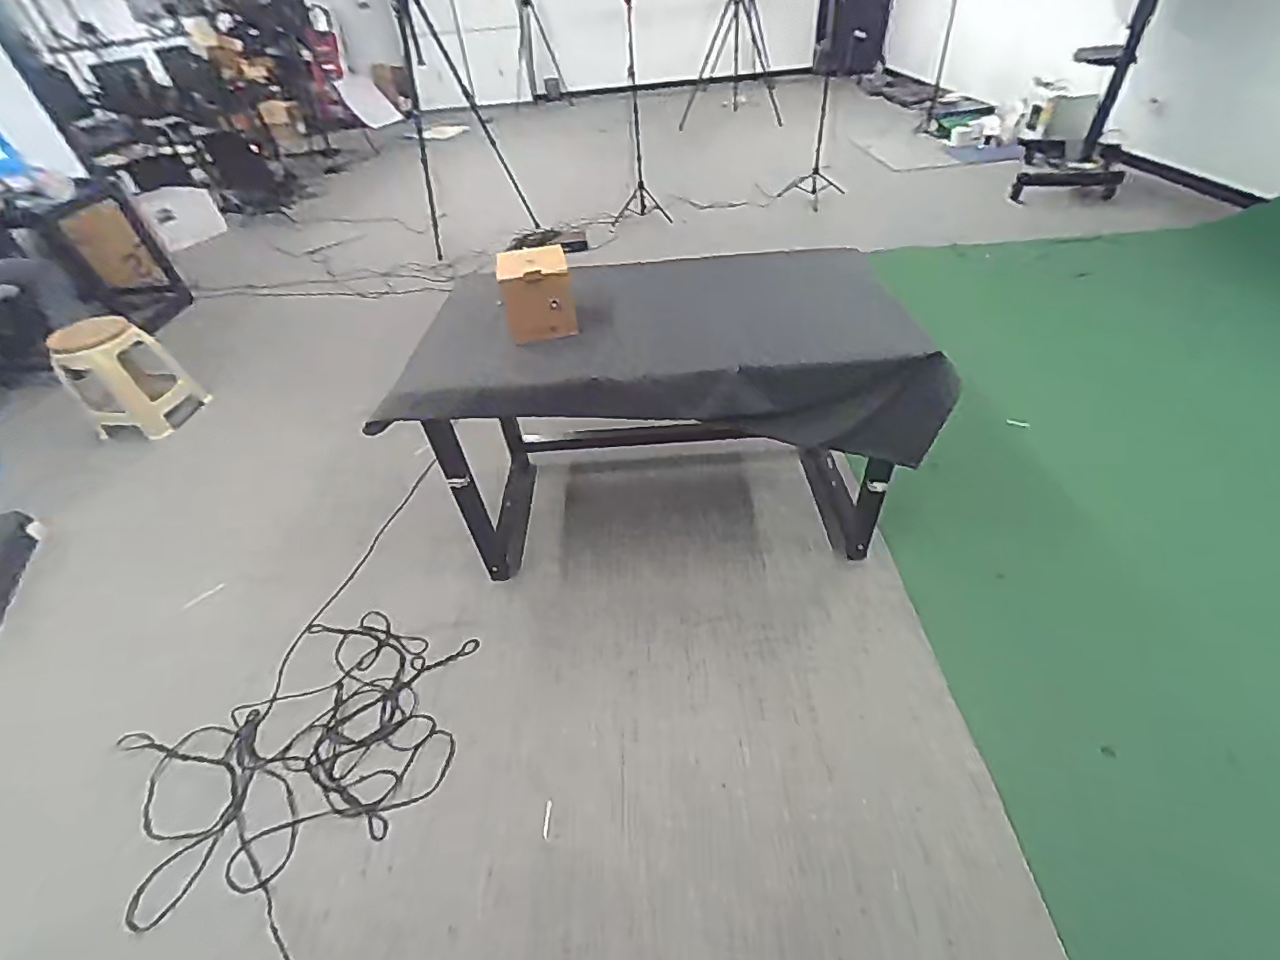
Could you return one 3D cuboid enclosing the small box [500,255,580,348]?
[{"bbox_3d":[-0.250,-0.441,1.355,0.168,0.176,0.179,-10,41,-7],"label":"small box"}]
